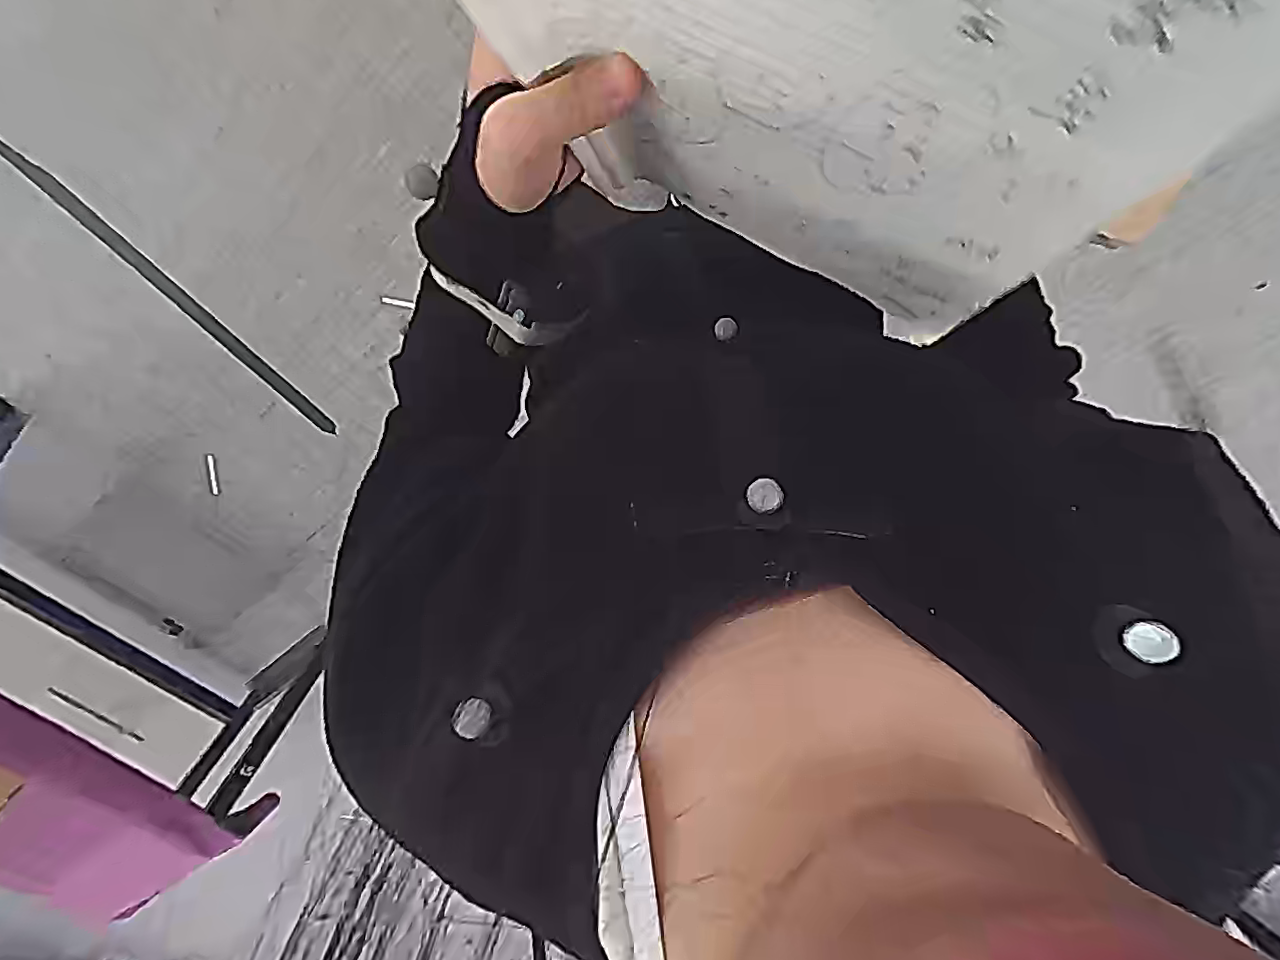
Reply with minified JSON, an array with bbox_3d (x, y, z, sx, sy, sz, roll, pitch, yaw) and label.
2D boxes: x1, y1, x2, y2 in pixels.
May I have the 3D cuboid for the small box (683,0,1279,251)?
[{"bbox_3d":[0.134,-0.217,0.200,0.168,0.176,0.179,1,131,-27],"label":"small box"}]
